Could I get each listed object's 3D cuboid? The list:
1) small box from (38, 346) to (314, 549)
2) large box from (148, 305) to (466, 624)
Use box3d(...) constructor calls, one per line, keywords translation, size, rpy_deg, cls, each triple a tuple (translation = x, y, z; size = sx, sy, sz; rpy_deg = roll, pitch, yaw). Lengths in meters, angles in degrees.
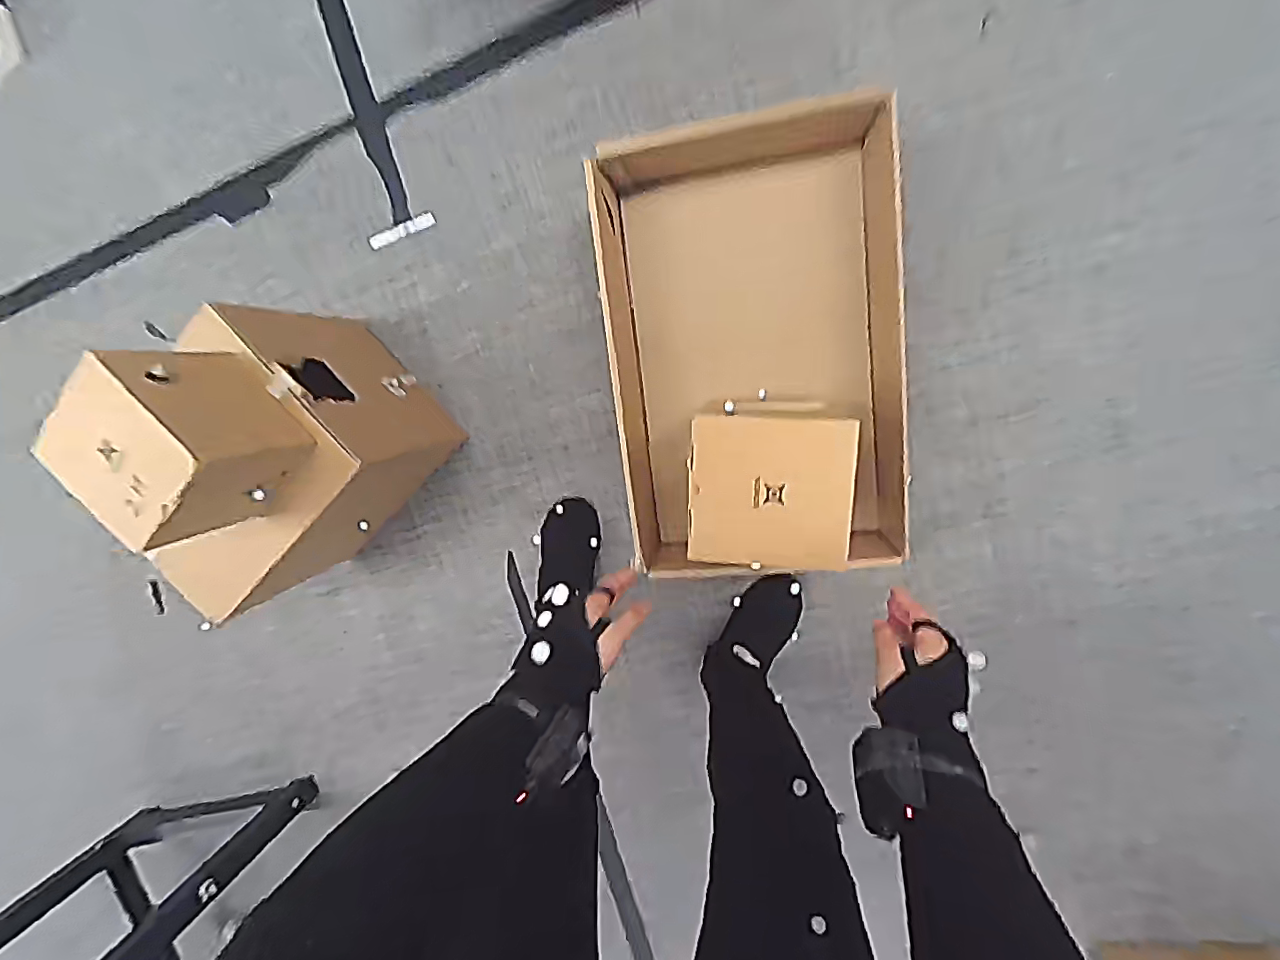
box3d(translation=(-0.572, -0.047, 0.687), size=(0.179, 0.176, 0.168), rpy_deg=(46, 107, -2), cls="small box")
box3d(translation=(-0.593, -0.039, 0.949), size=(0.408, 0.320, 0.320), rpy_deg=(-43, 90, 16), cls="large box")
